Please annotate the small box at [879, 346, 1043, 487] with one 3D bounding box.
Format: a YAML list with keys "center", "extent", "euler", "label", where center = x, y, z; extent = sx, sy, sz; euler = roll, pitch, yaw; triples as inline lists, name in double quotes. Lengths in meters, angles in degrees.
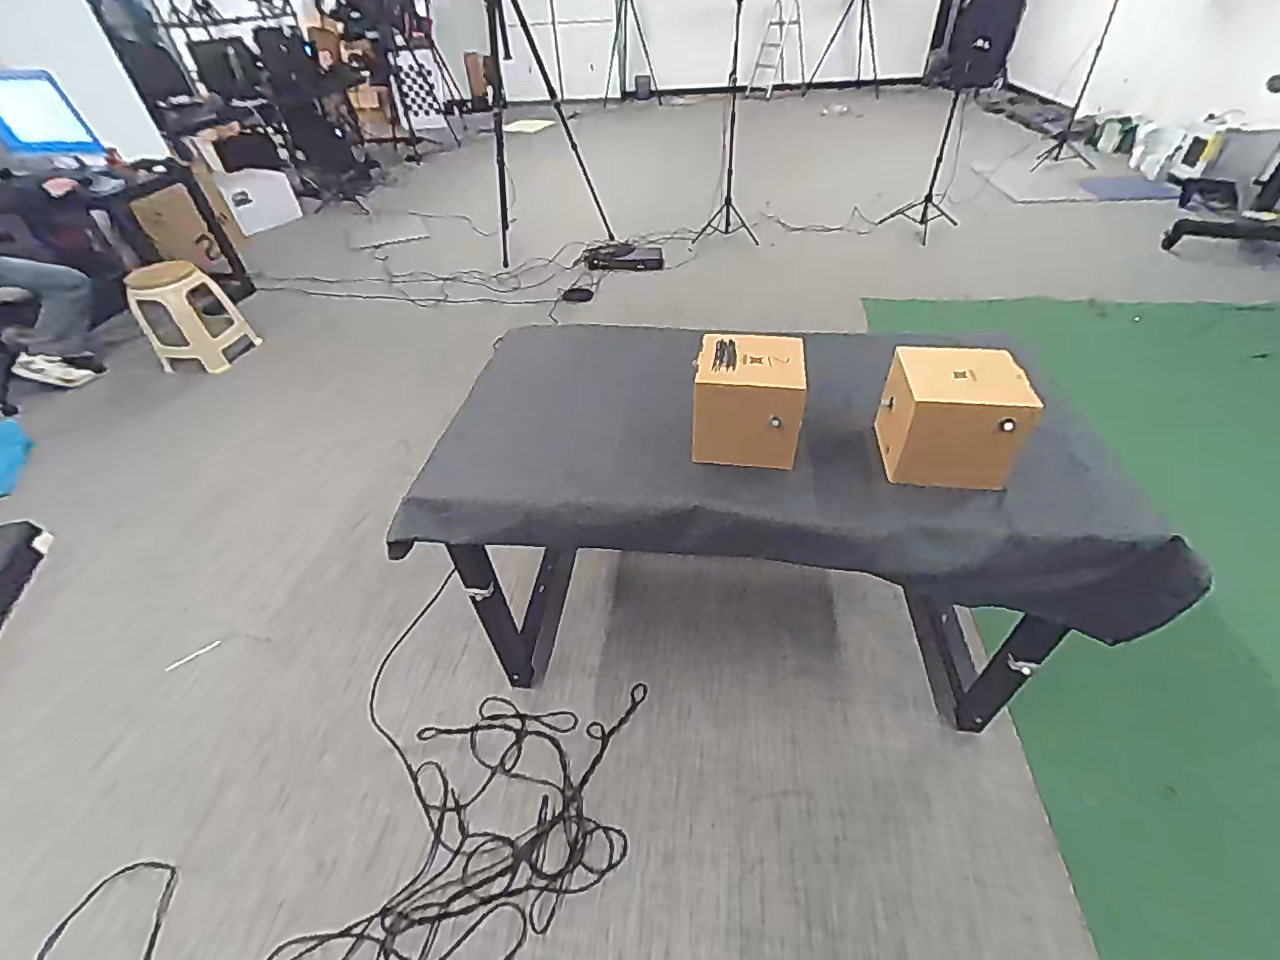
- center: [0.505, -0.105, 0.888]
  extent: [0.179, 0.176, 0.168]
  euler: [4, 43, 9]
  label: "small box"
